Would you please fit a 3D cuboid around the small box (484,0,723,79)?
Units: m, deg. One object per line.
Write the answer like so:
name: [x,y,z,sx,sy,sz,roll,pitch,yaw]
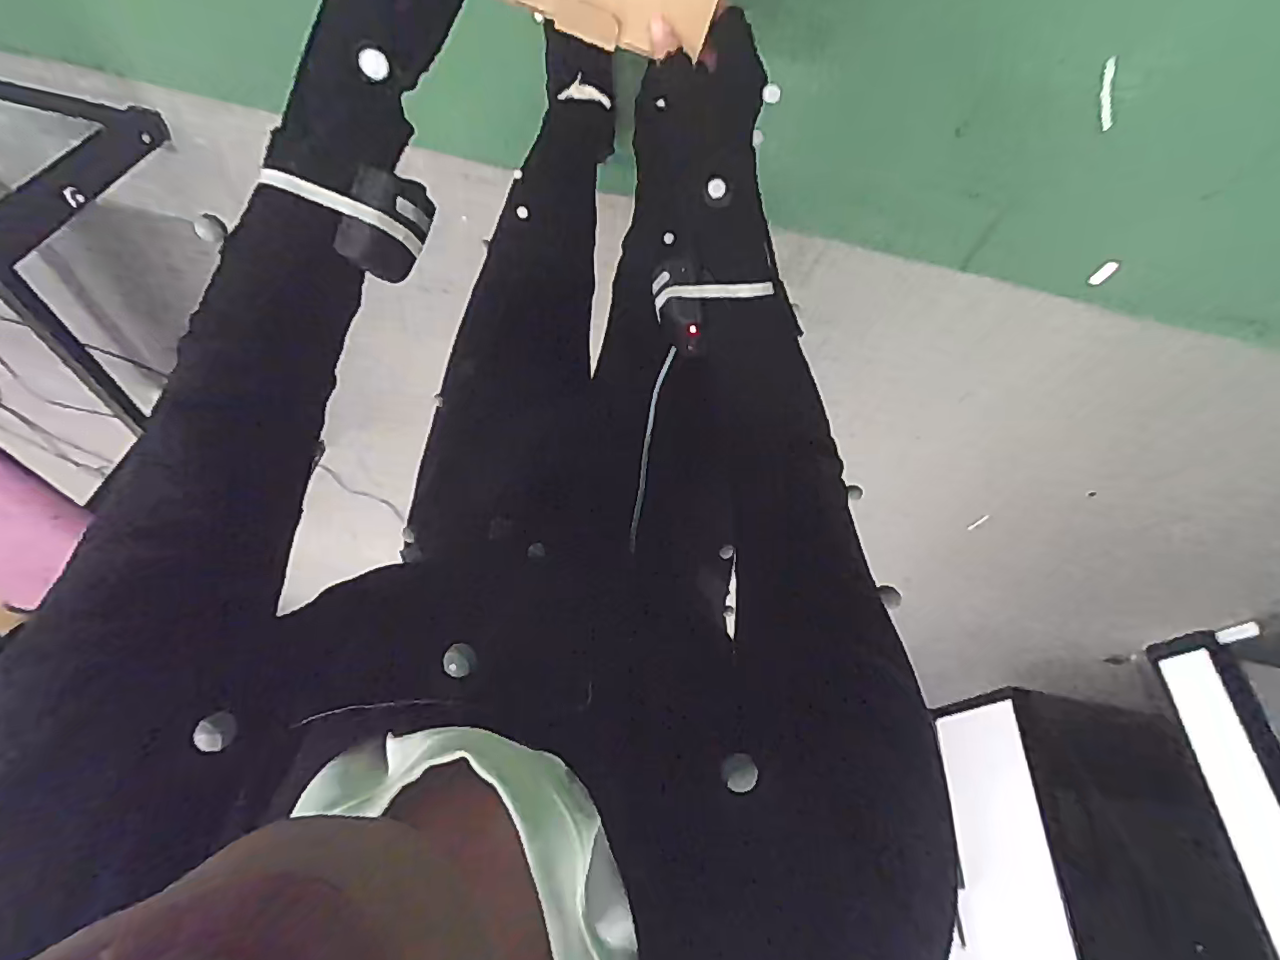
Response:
small box: [-0.008,-0.426,0.356,0.168,0.176,0.179,10,151,-14]
